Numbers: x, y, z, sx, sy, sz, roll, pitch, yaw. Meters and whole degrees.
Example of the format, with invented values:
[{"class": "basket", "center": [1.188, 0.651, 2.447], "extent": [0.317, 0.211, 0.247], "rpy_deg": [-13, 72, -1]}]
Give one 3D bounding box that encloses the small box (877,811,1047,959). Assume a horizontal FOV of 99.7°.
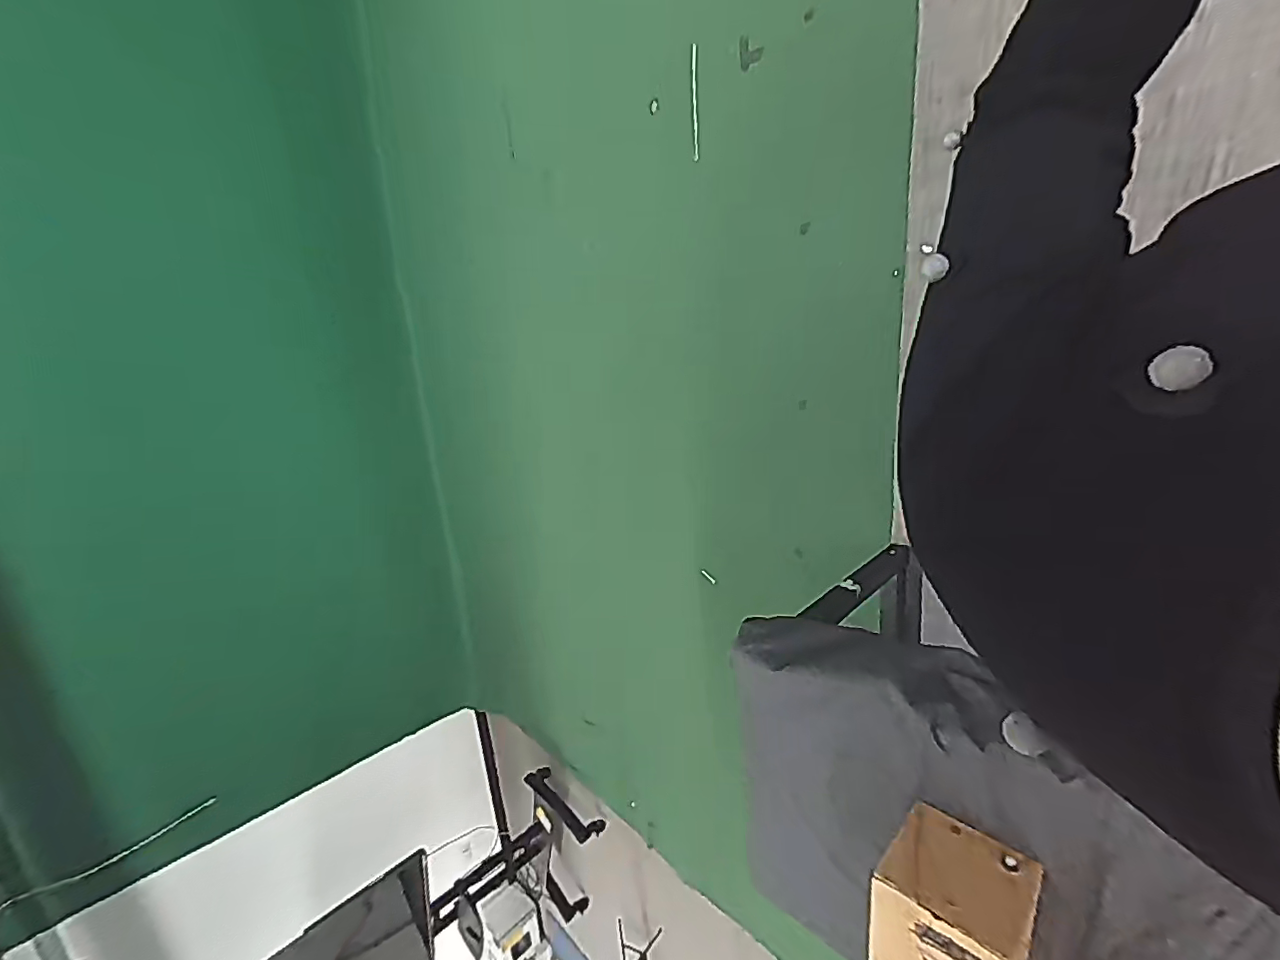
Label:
[{"class": "small box", "center": [0.455, 0.623, 0.765], "extent": [0.168, 0.176, 0.179], "rpy_deg": [11, 113, 45]}]
